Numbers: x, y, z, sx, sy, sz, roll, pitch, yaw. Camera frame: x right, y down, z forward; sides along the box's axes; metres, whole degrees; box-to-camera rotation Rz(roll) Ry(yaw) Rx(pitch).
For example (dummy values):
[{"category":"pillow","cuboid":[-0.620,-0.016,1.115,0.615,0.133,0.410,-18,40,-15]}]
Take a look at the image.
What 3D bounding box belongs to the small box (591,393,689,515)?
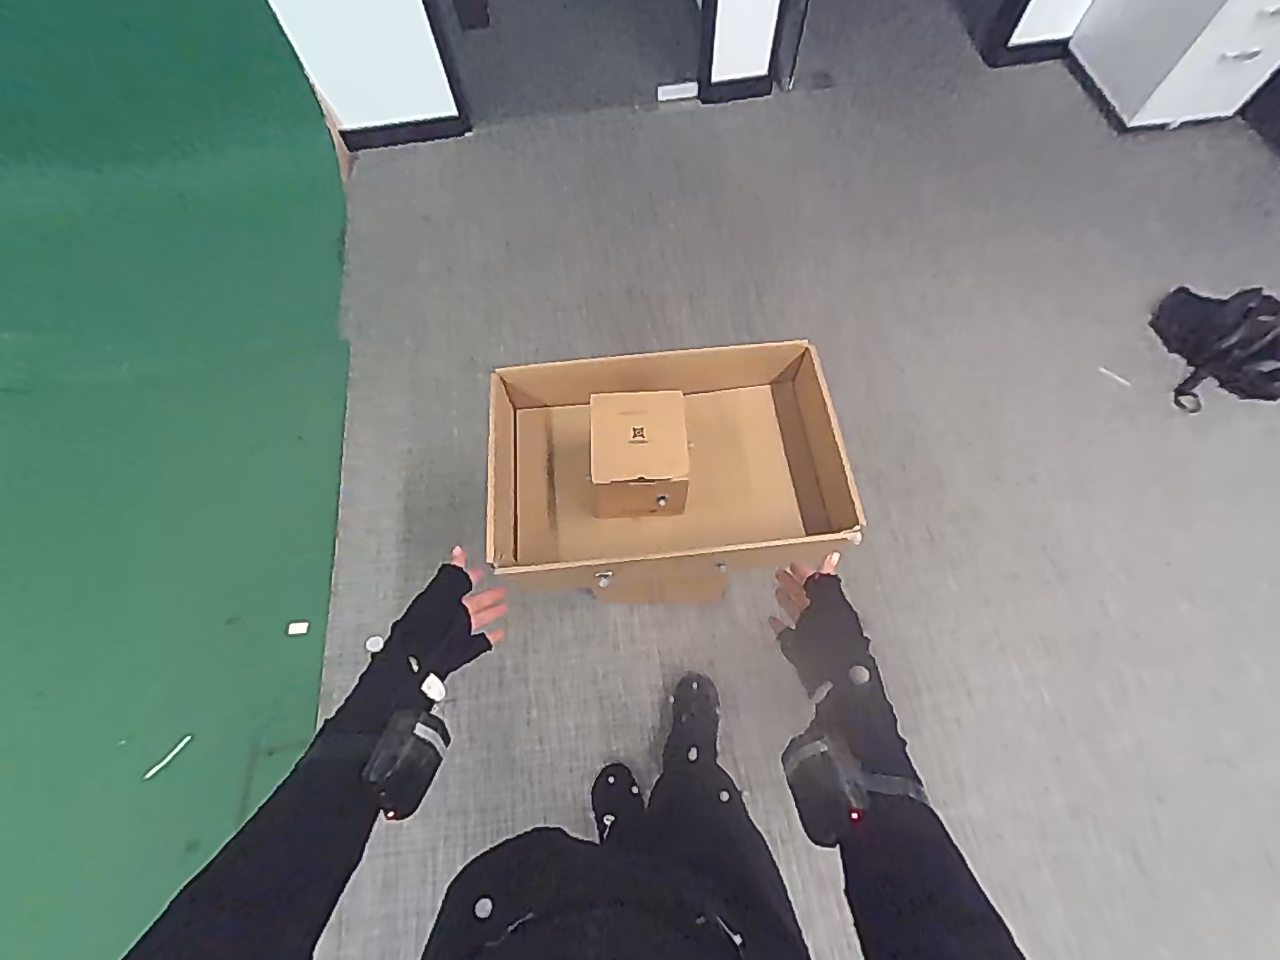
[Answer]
[{"category":"small box","cuboid":[-0.003,-0.040,1.000,0.168,0.176,0.179,-3,64,-2]}]
